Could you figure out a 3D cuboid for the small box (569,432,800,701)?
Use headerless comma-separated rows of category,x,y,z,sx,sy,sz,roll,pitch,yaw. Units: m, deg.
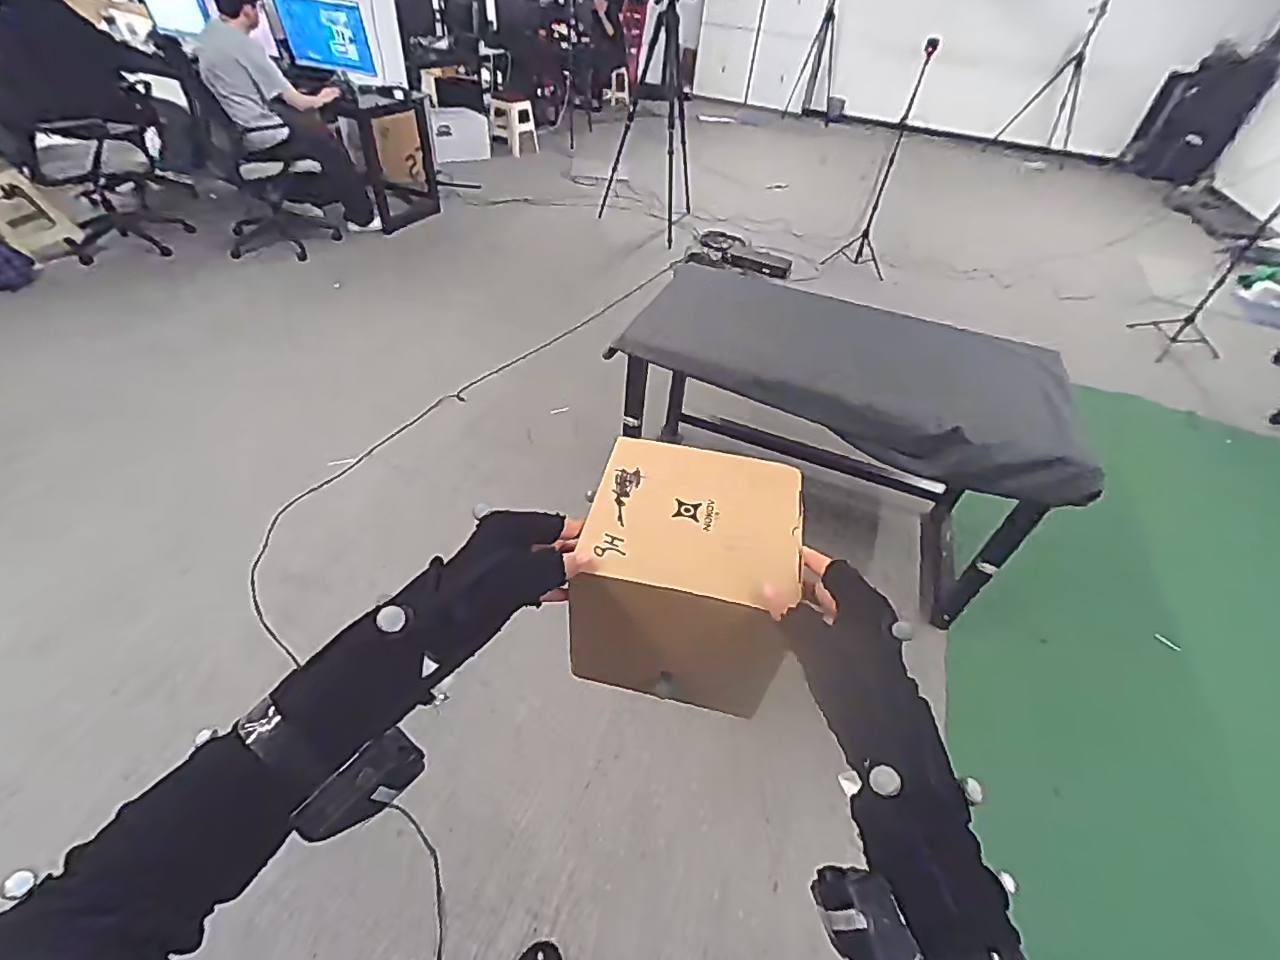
small box,0.040,0.084,0.511,0.179,0.176,0.168,13,43,5
